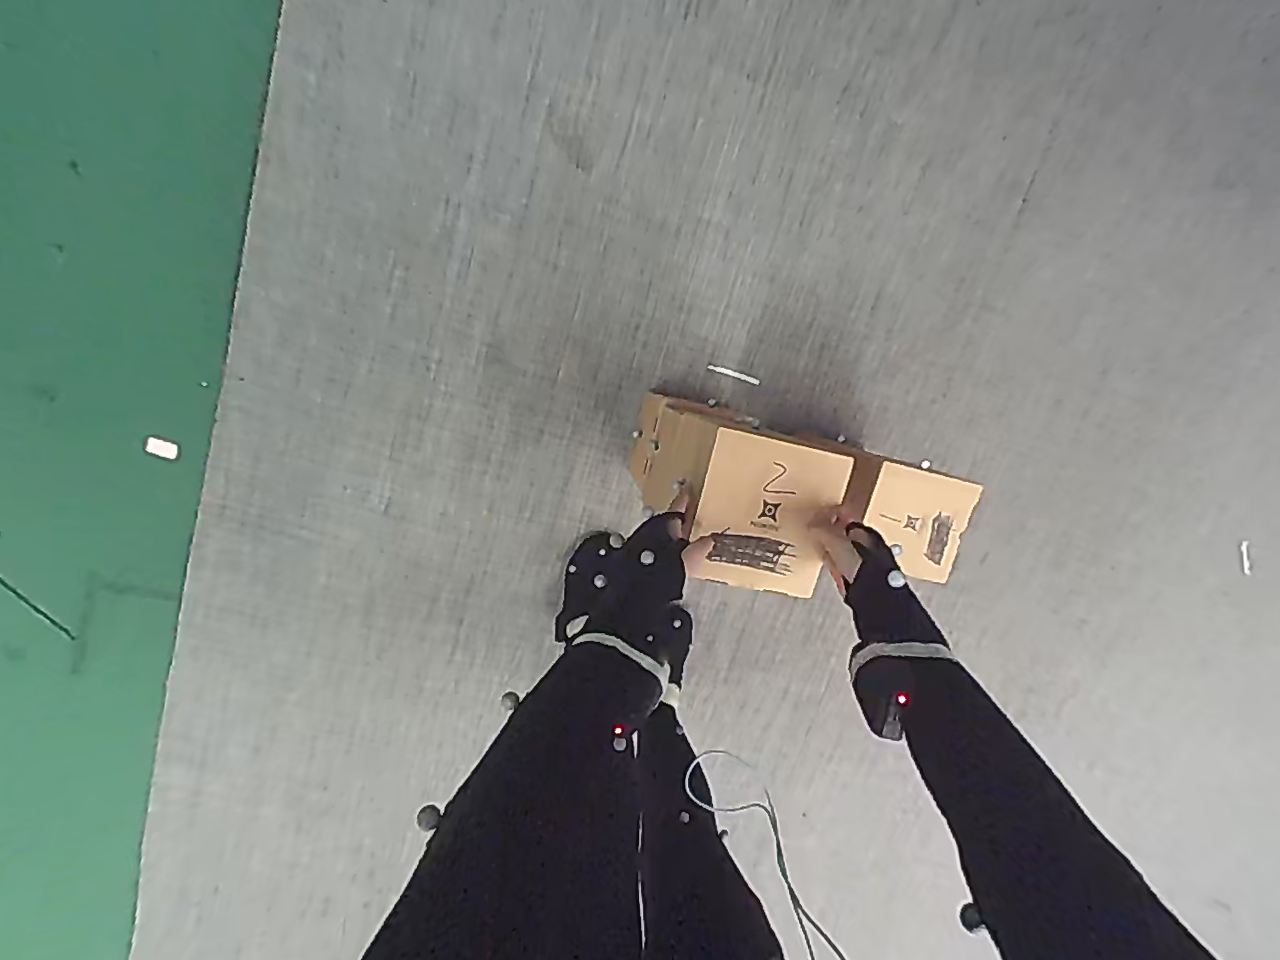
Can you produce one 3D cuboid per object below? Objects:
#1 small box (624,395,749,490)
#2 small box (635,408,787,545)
[{"bbox_3d":[0.078,-0.061,1.014,0.179,0.176,0.168,12,101,-10],"label":"small box"},{"bbox_3d":[0.101,-0.014,0.859,0.179,0.176,0.168,12,100,-10],"label":"small box"}]
